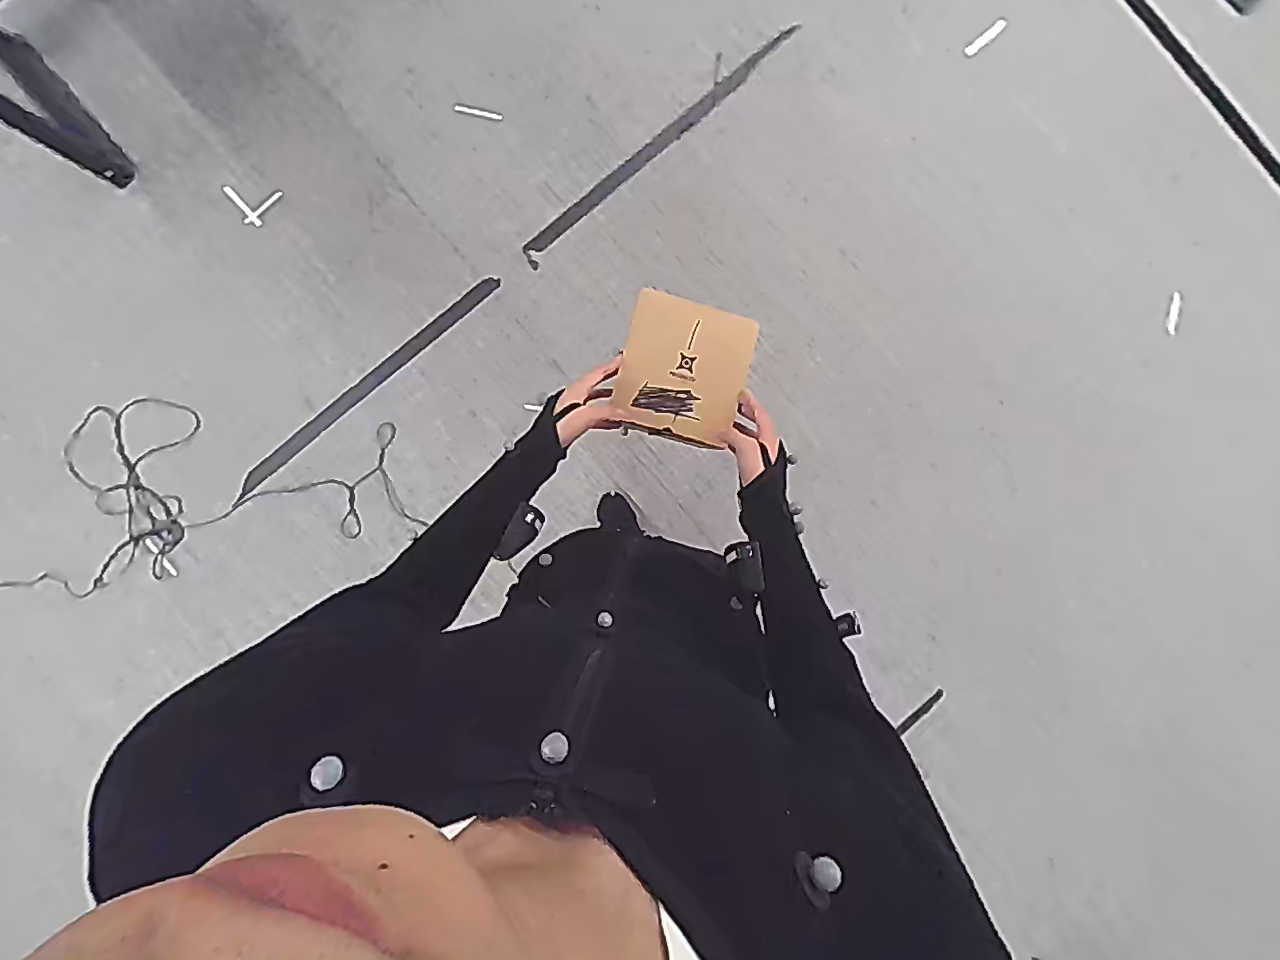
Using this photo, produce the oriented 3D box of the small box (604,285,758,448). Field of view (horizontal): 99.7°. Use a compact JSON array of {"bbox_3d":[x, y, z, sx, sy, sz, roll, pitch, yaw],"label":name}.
[{"bbox_3d":[0.049,-0.149,0.771,0.168,0.176,0.179,14,93,-5],"label":"small box"}]
